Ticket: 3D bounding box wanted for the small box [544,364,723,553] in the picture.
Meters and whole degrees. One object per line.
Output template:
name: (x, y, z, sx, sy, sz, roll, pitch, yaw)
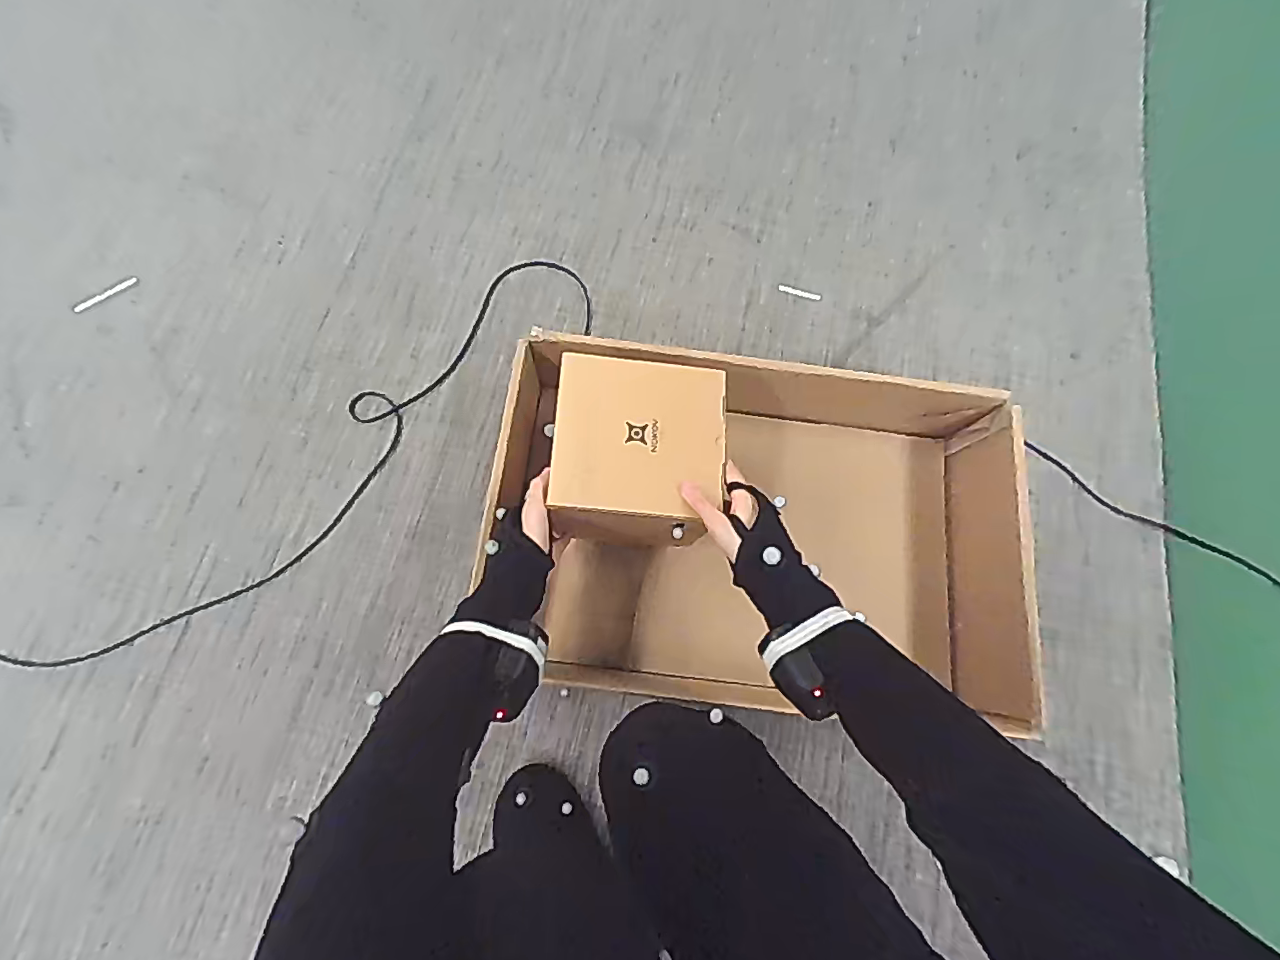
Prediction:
small box: (-0.011, -0.013, 0.623, 0.179, 0.176, 0.168, 5, 72, -6)
